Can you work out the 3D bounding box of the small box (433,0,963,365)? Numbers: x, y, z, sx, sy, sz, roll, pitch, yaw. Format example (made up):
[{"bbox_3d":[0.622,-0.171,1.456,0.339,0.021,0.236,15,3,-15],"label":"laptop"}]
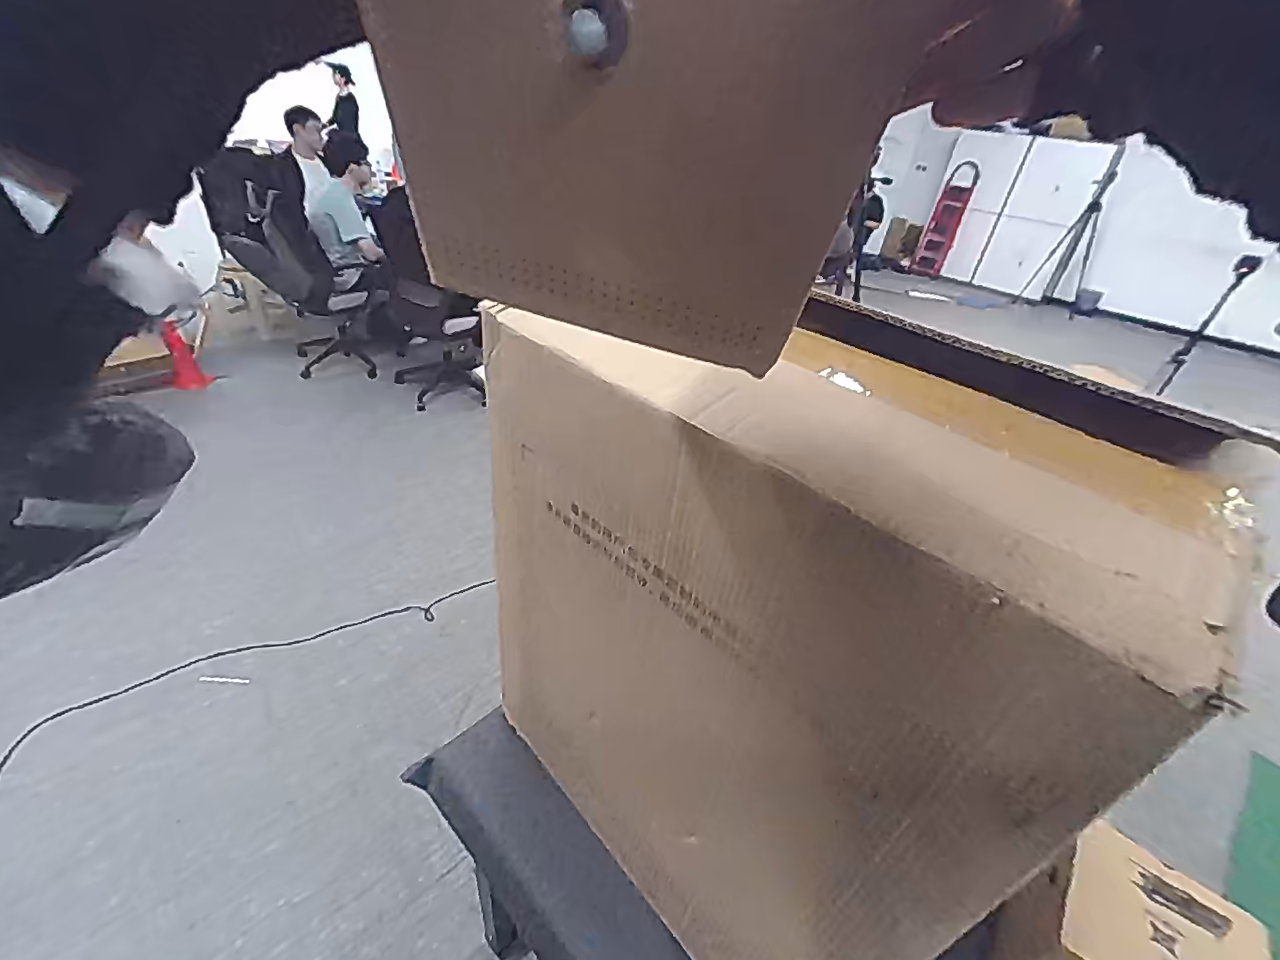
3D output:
[{"bbox_3d":[0.021,-0.180,0.249,0.179,0.176,0.168,17,60,2],"label":"small box"}]
